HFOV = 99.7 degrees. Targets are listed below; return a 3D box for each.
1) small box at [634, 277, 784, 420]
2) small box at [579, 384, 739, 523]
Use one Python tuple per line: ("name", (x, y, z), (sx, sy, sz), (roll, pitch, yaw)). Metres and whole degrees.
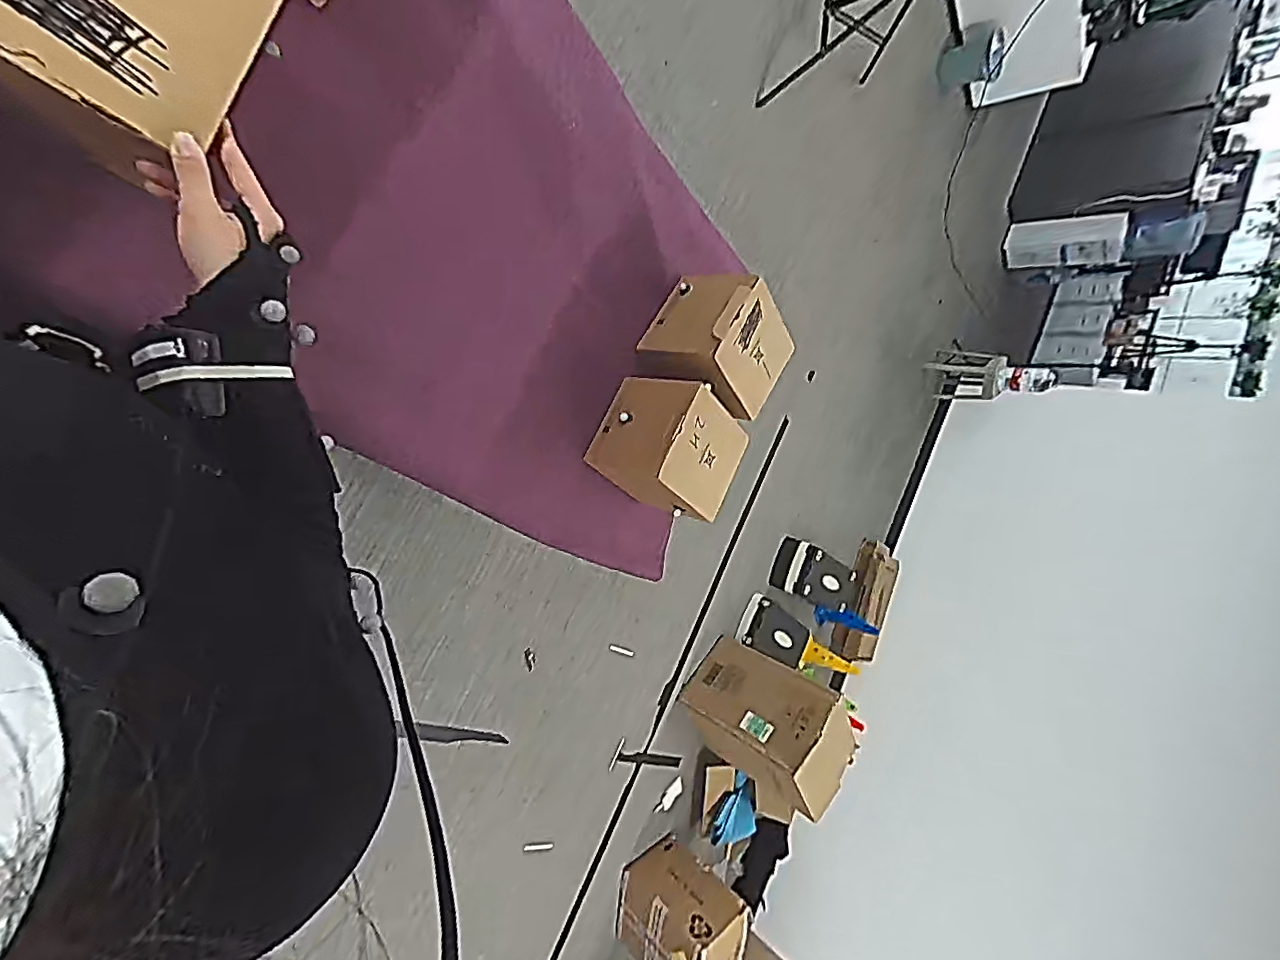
("small box", (0.119, -0.229, 0.948), (0.168, 0.176, 0.179), (-59, 136, -14))
("small box", (0.033, -0.051, 0.912), (0.179, 0.176, 0.168), (39, 72, -44))
